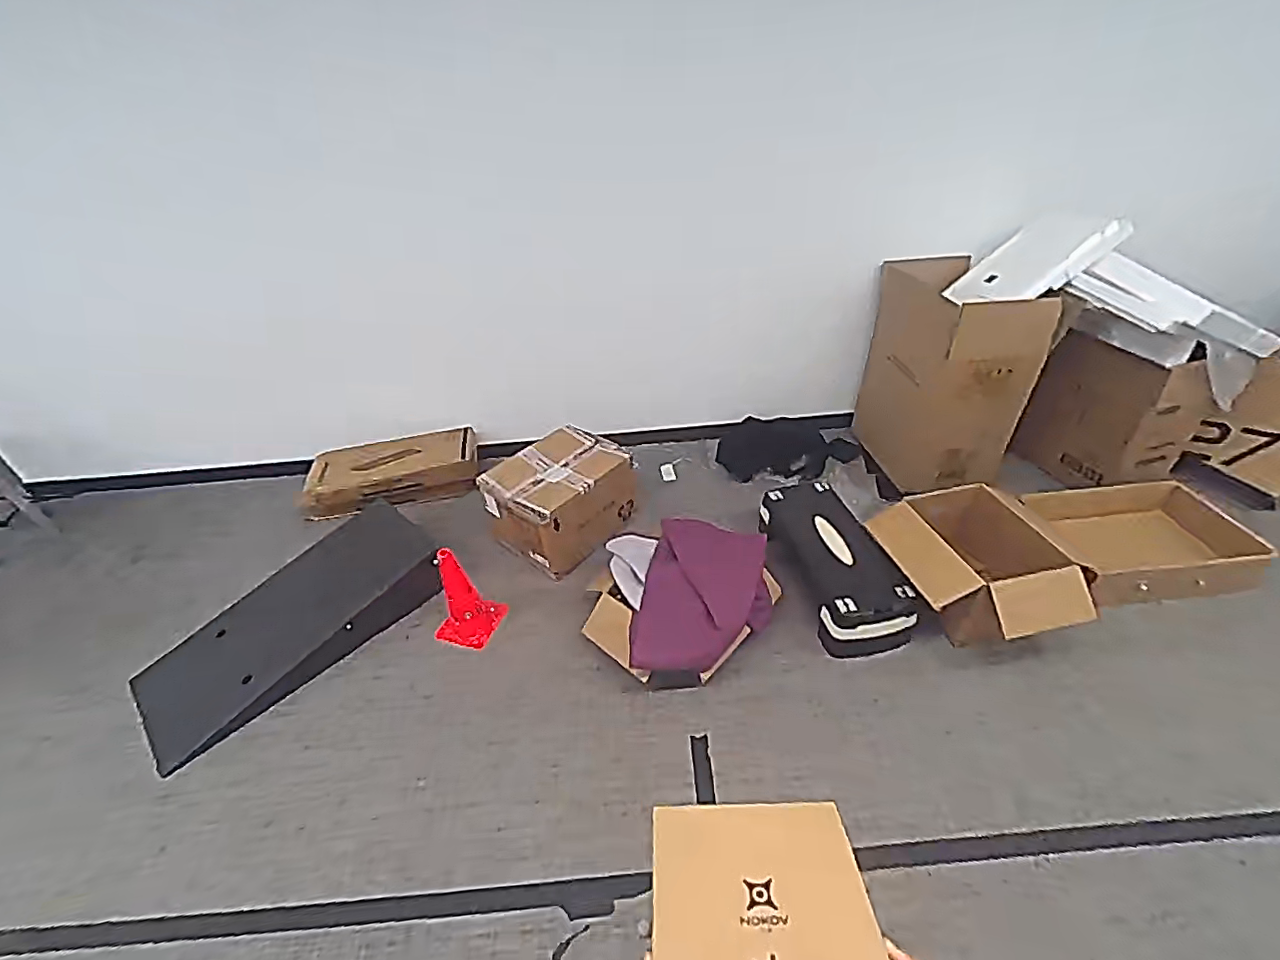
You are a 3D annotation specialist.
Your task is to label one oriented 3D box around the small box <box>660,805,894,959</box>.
[{"bbox_3d":[0.100,0.400,0.434,0.168,0.176,0.179,-3,21,2],"label":"small box"}]
